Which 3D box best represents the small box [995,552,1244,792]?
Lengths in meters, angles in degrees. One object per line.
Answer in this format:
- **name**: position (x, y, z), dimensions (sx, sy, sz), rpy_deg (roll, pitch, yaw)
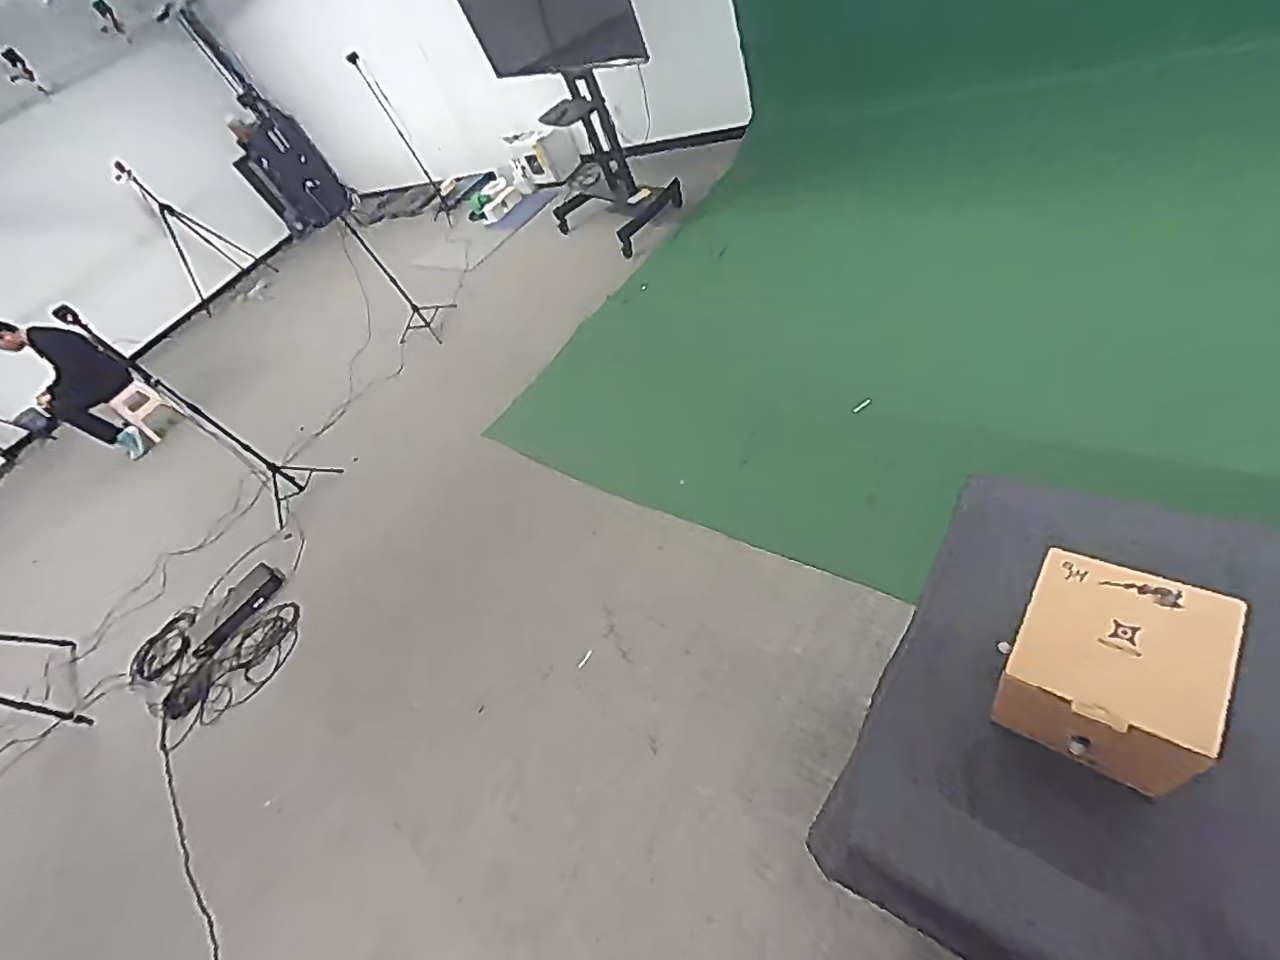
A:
- **small box**: position (0.527, 0.219, 0.617), dimensions (0.168, 0.176, 0.179), rpy_deg (20, 64, 38)
